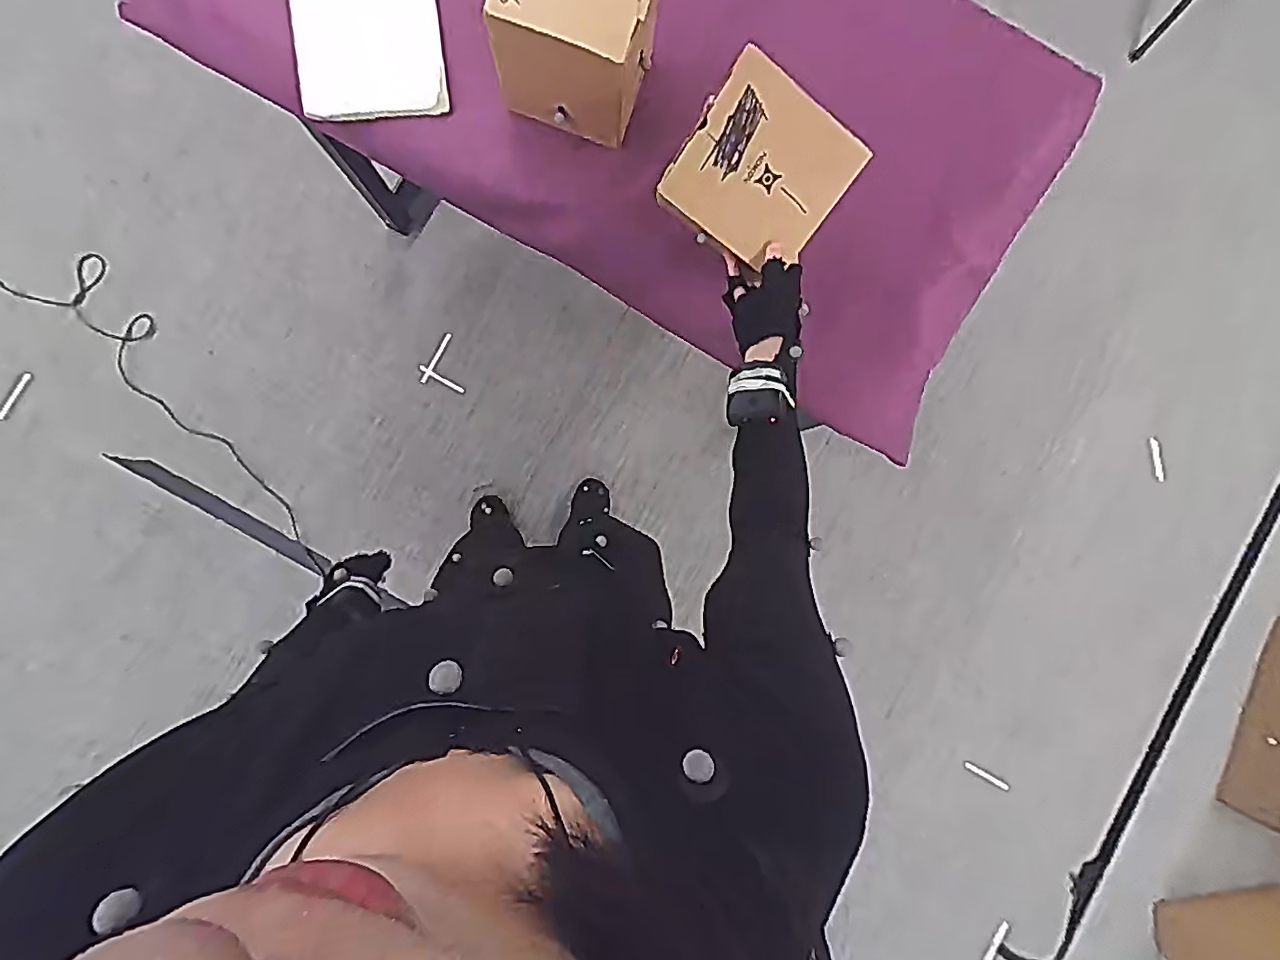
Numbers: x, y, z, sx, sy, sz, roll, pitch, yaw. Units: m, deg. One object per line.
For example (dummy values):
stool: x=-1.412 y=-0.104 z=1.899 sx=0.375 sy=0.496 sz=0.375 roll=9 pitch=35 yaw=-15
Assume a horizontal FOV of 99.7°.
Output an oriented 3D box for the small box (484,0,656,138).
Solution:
small box: x=-0.080 y=-0.595 z=0.711 sx=0.179 sy=0.176 sz=0.168 roll=18 pitch=87 yaw=-4

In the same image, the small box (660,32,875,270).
small box: x=0.140 y=-0.379 z=0.664 sx=0.179 sy=0.176 sz=0.168 roll=34 pitch=109 yaw=-11
